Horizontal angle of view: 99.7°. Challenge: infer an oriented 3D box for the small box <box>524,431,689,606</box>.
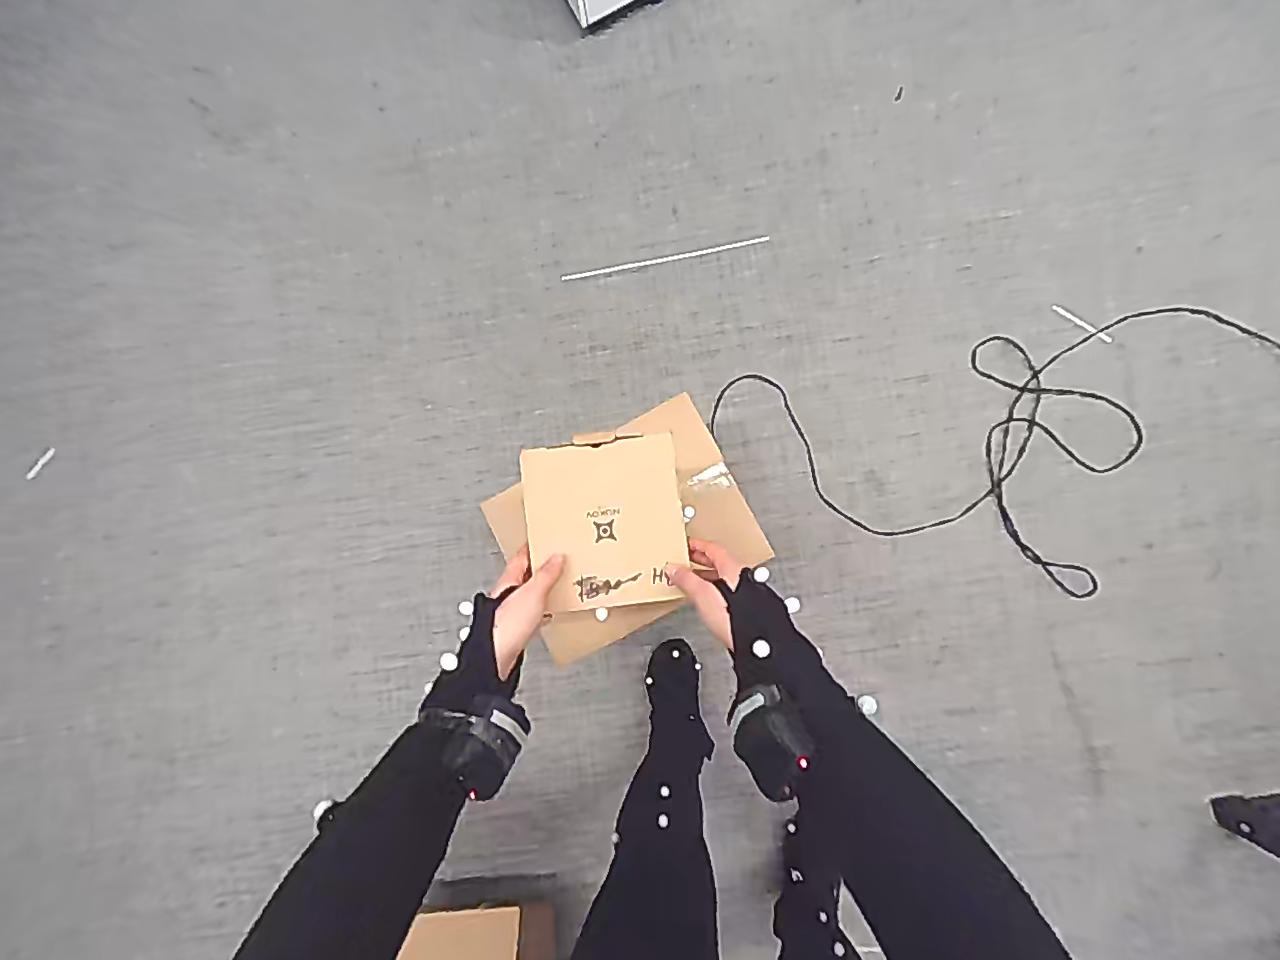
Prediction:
[{"bbox_3d":[-0.034,0.049,0.662,0.168,0.176,0.179,-7,85,3],"label":"small box"}]
